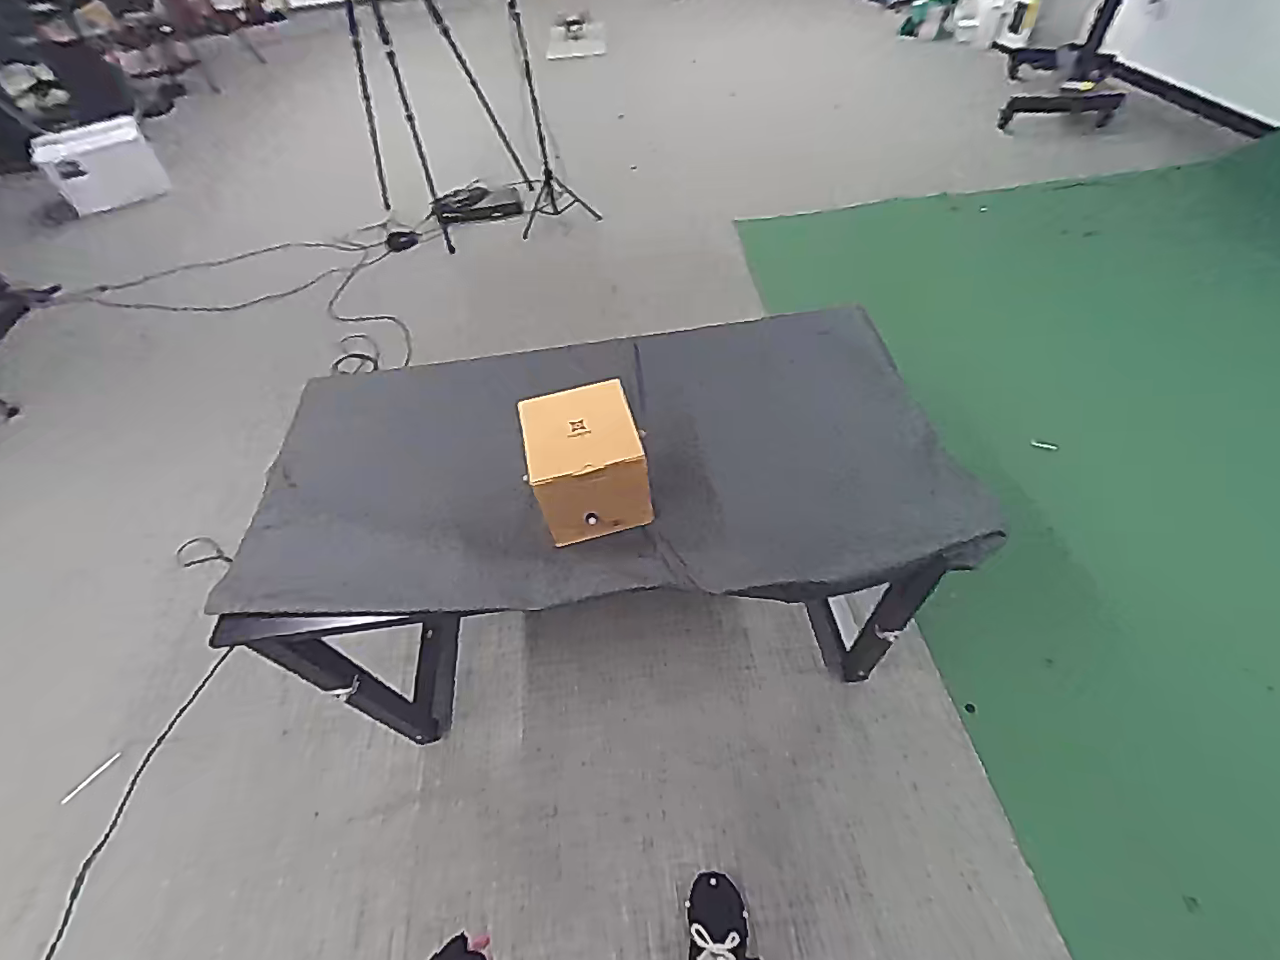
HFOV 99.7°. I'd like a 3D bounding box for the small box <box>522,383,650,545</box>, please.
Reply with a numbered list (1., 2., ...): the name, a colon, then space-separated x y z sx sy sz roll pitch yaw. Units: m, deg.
1. small box: -0.084 -0.024 0.868 0.168 0.176 0.179 -14 52 -6
